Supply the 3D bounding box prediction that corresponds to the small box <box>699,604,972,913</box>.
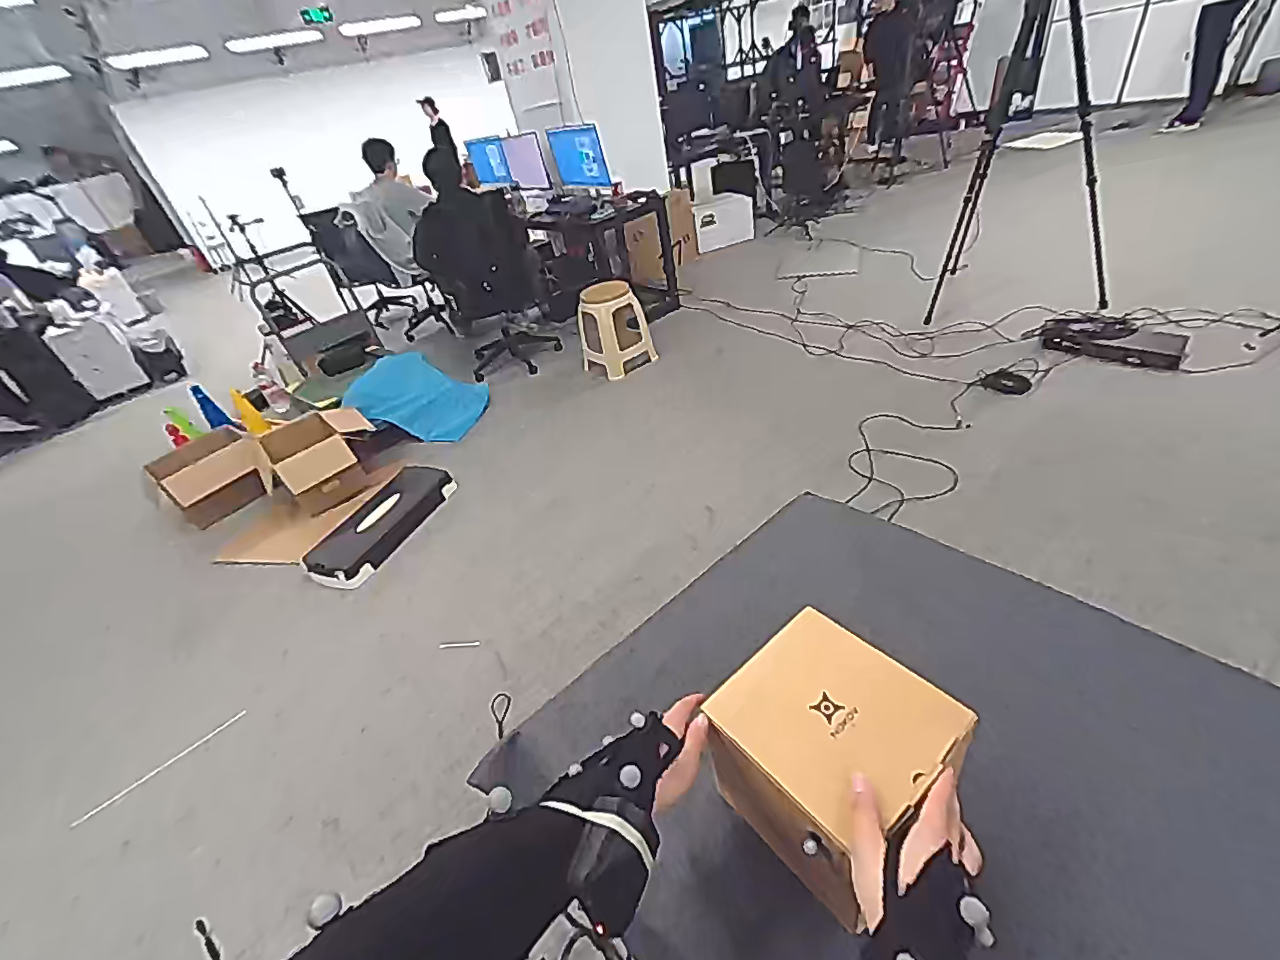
[{"bbox_3d":[0.182,0.264,0.530,0.168,0.176,0.179,-33,41,-25],"label":"small box"}]
